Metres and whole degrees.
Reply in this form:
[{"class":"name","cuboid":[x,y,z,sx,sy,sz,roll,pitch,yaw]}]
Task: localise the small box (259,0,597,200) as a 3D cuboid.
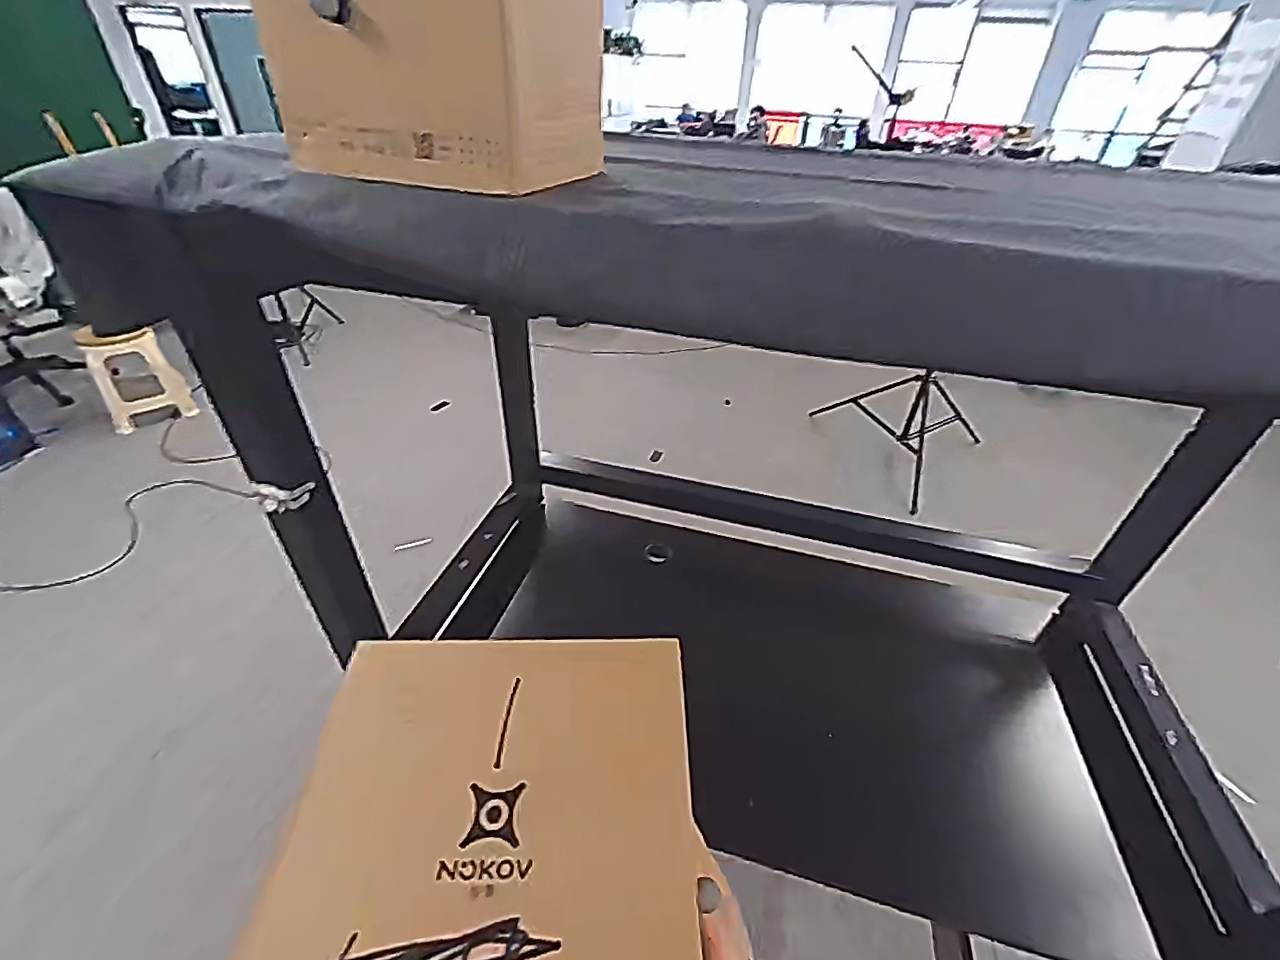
[{"class":"small box","cuboid":[-0.128,-0.301,0.377,0.168,0.176,0.179,11,35,10]}]
